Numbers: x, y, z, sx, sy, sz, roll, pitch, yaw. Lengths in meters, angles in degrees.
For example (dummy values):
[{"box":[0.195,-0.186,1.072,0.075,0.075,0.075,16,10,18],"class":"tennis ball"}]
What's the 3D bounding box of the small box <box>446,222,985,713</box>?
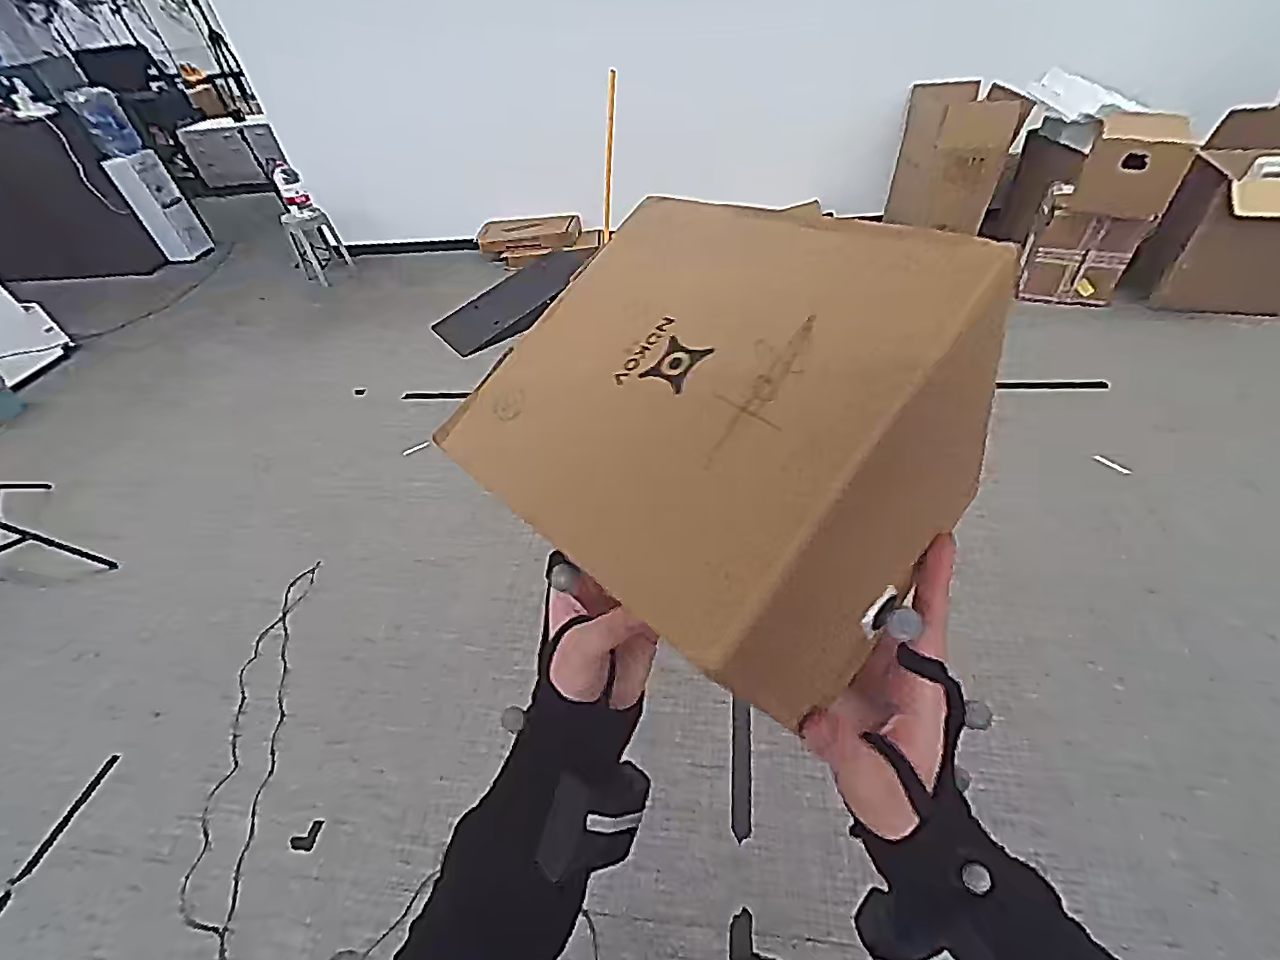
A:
[{"box":[0.043,-0.002,0.287,0.179,0.176,0.168,31,79,37],"class":"small box"}]
